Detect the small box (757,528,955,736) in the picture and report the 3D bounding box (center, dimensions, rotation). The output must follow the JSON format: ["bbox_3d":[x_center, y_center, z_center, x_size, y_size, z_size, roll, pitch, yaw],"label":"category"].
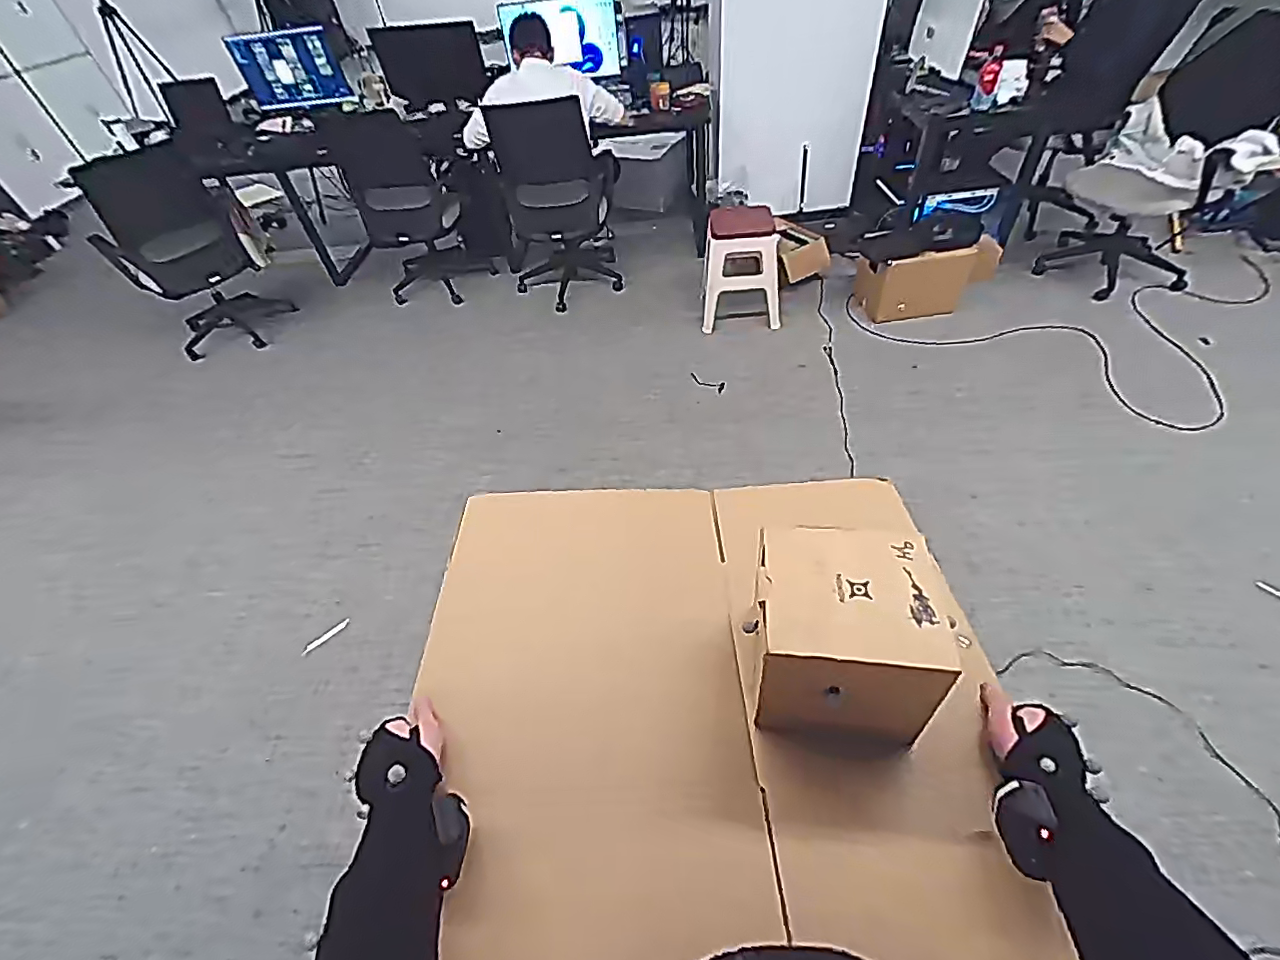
[{"bbox_3d":[0.224,0.173,0.618,0.179,0.176,0.168,2,44,10],"label":"small box"}]
